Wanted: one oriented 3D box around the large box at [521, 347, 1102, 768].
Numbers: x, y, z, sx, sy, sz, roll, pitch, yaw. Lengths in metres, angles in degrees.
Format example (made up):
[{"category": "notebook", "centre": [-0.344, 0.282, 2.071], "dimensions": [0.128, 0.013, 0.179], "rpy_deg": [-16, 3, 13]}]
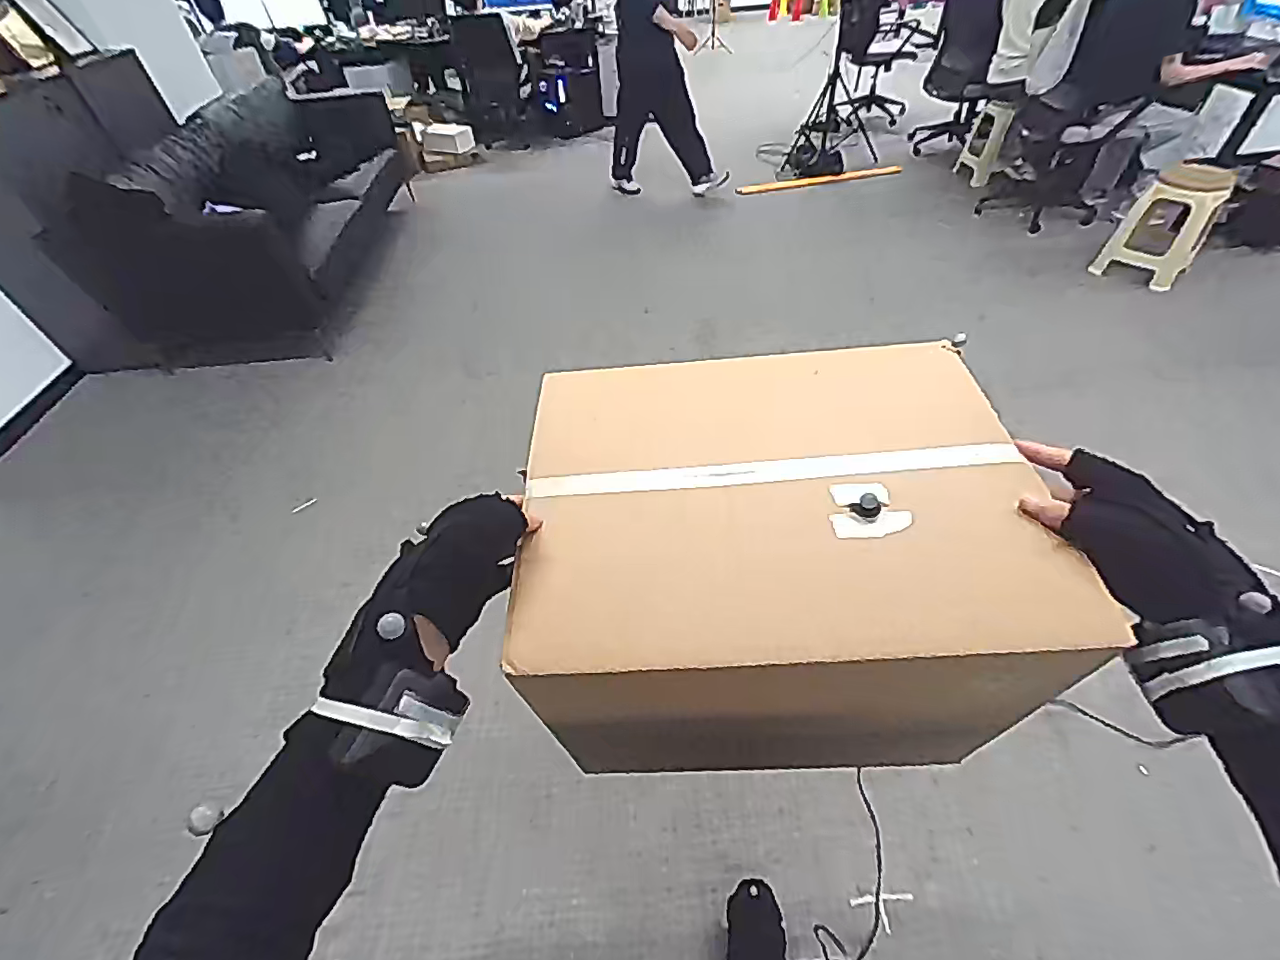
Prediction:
[{"category": "large box", "centre": [0.121, 0.094, 0.576], "dimensions": [0.408, 0.320, 0.320], "rpy_deg": [-5, 51, 4]}]
